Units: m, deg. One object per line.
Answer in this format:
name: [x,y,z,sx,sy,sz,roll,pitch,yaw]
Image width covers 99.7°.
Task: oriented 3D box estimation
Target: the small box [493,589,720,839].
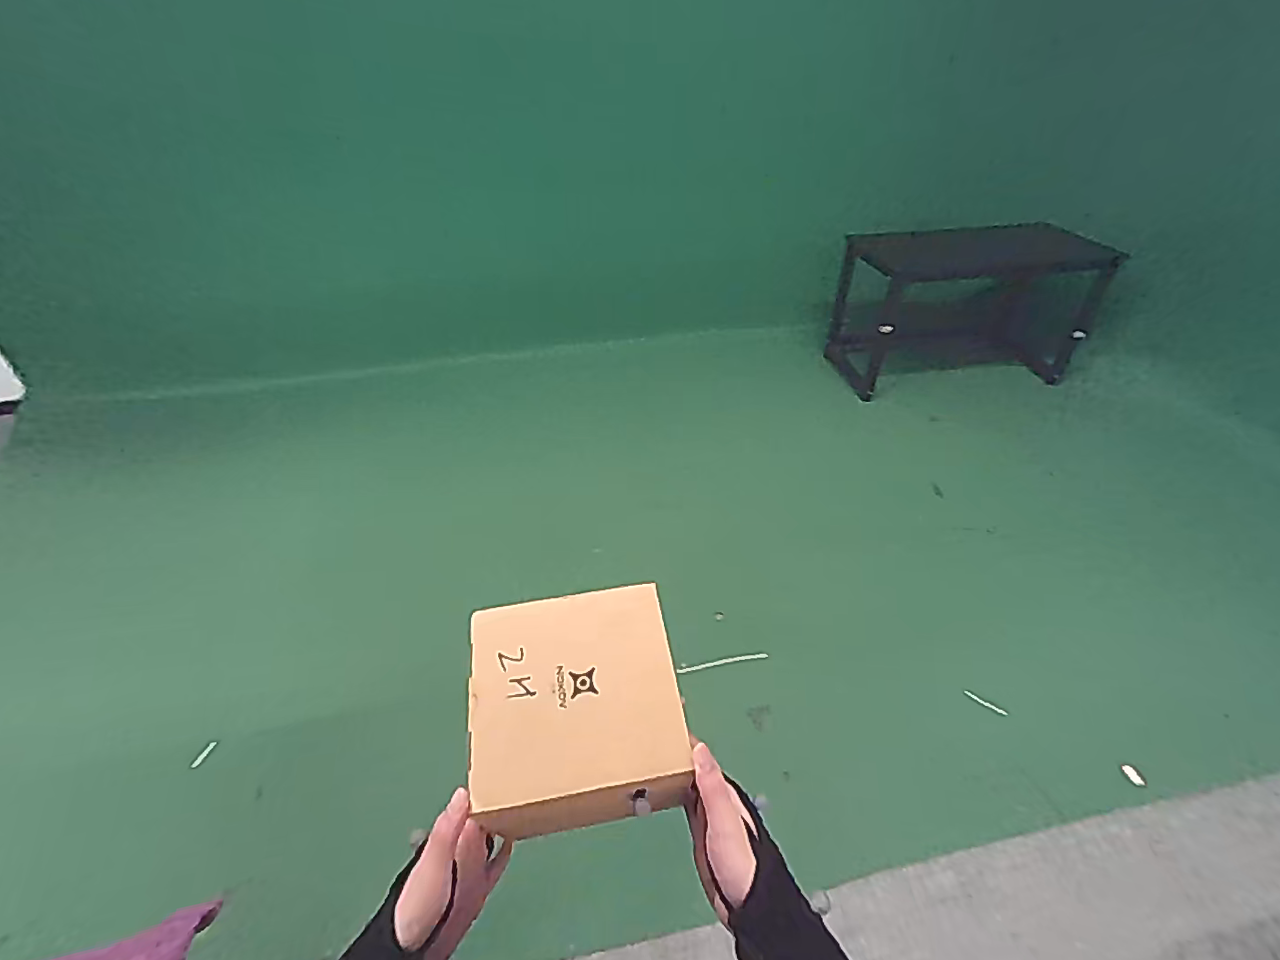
small box: [-0.036,0.225,0.516,0.179,0.176,0.168,-7,51,-6]
